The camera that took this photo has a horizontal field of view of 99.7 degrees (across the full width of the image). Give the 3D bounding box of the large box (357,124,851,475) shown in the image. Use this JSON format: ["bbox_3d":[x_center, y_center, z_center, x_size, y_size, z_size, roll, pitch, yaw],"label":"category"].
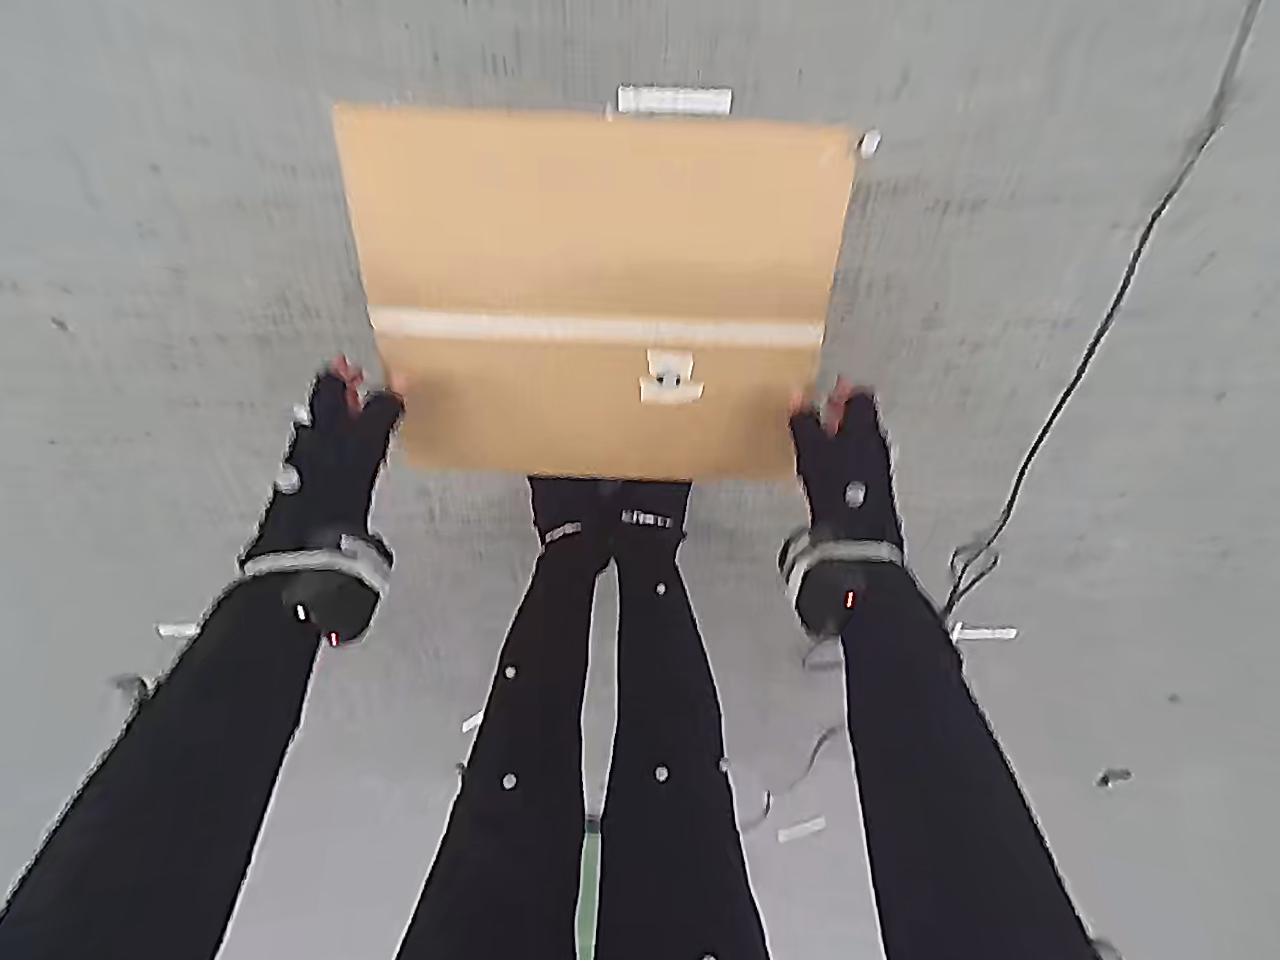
[{"bbox_3d":[-0.033,-0.213,0.631,0.408,0.320,0.320,2,120,-1],"label":"large box"}]
